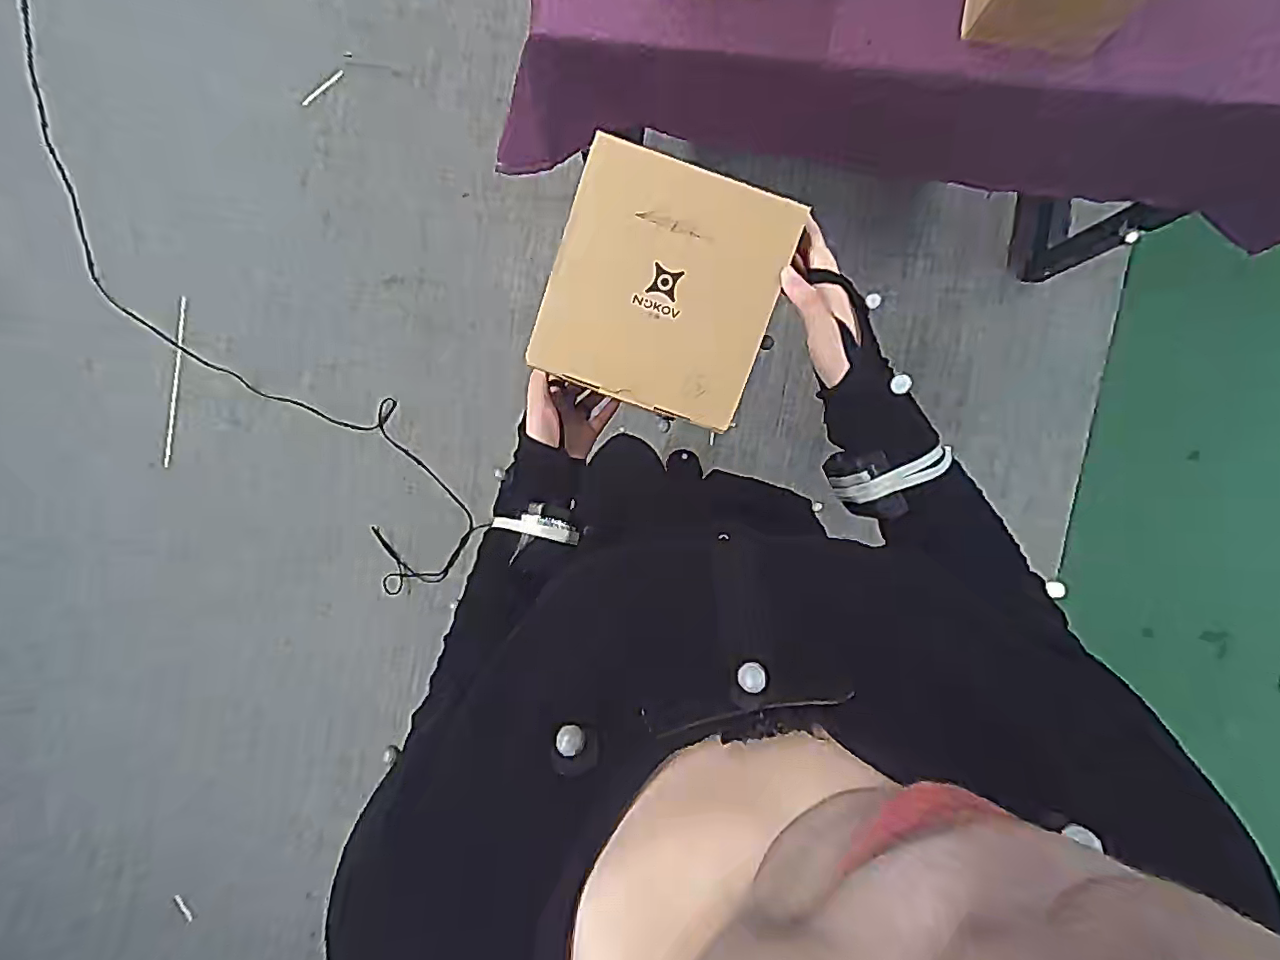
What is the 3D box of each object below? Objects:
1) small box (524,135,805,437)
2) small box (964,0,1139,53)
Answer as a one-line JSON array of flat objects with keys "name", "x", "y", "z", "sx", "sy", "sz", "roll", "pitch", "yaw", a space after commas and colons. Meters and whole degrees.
[{"name": "small box", "x": 0.019, "y": -0.149, "z": 0.476, "sx": 0.168, "sy": 0.176, "sz": 0.179, "roll": 20, "pitch": 97, "yaw": -1}, {"name": "small box", "x": 0.518, "y": -0.649, "z": 0.634, "sx": 0.179, "sy": 0.176, "sz": 0.168, "roll": 8, "pitch": 93, "yaw": 1}]
